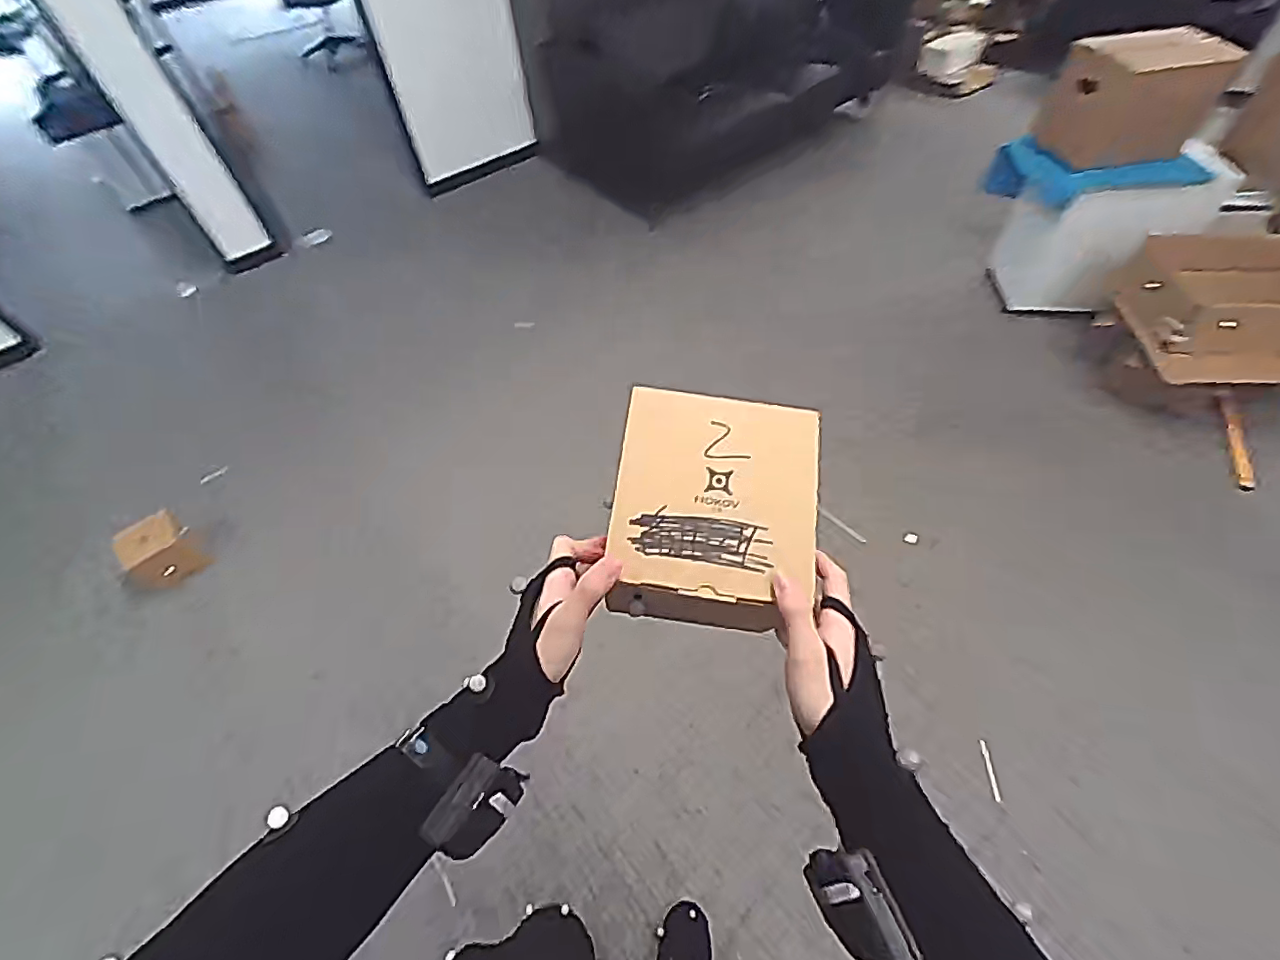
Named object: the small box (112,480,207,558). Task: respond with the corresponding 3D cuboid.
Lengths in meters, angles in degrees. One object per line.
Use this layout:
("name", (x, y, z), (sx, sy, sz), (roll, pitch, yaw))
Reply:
("small box", (-1.614, 0.140, 1.825), (0.168, 0.176, 0.179), (-34, 60, -20))
